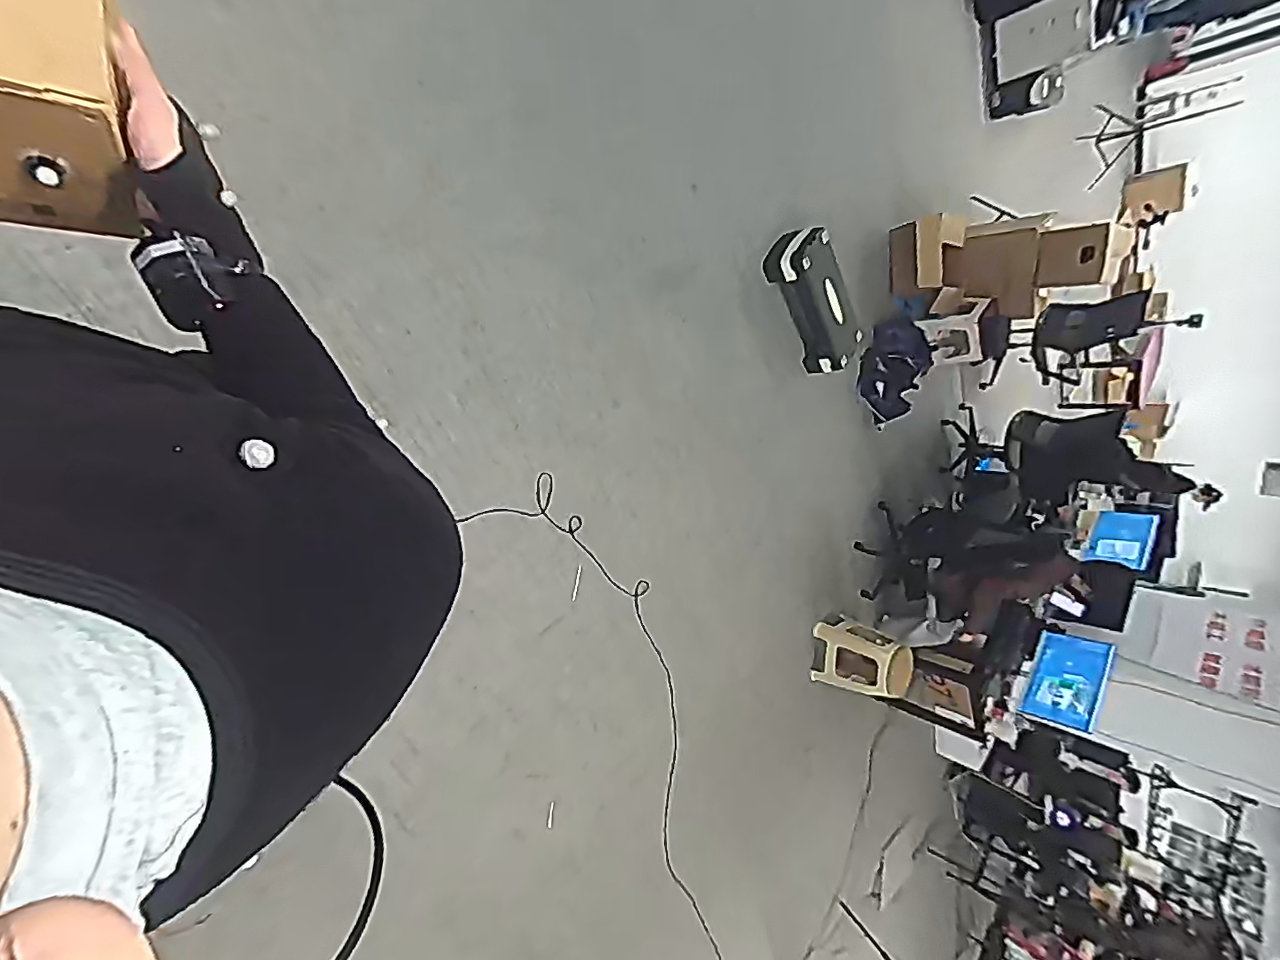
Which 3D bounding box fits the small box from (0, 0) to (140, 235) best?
[{"bbox_3d":[-0.487,-0.309,0.391,0.168,0.176,0.179,-7,81,-39],"label":"small box"}]
